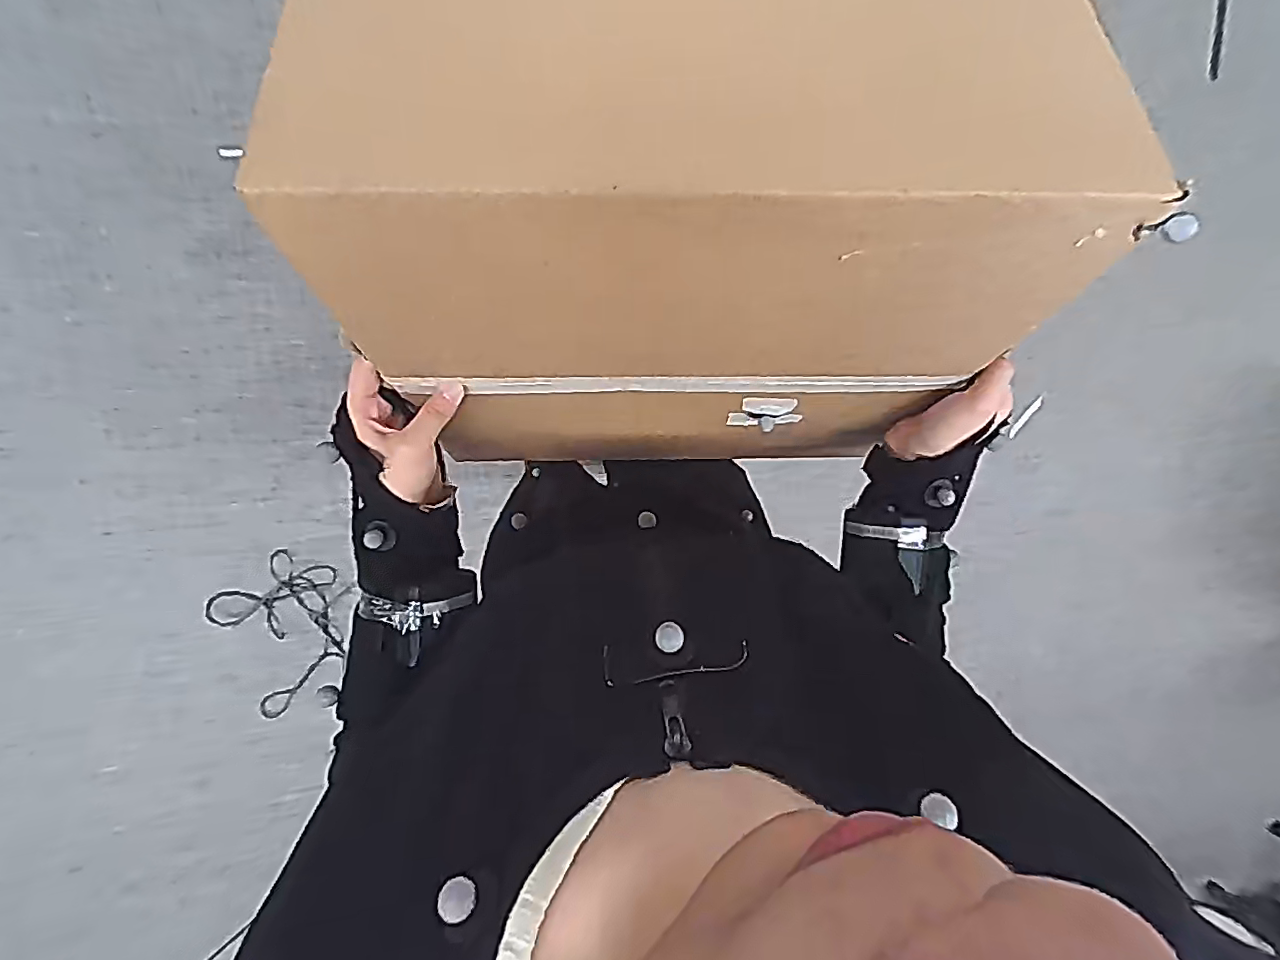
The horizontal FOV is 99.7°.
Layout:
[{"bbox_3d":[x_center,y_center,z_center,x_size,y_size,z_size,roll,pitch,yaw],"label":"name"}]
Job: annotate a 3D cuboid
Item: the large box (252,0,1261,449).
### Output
[{"bbox_3d":[0.038,-0.226,0.396,0.408,0.320,0.320,-2,73,-2],"label":"large box"}]
